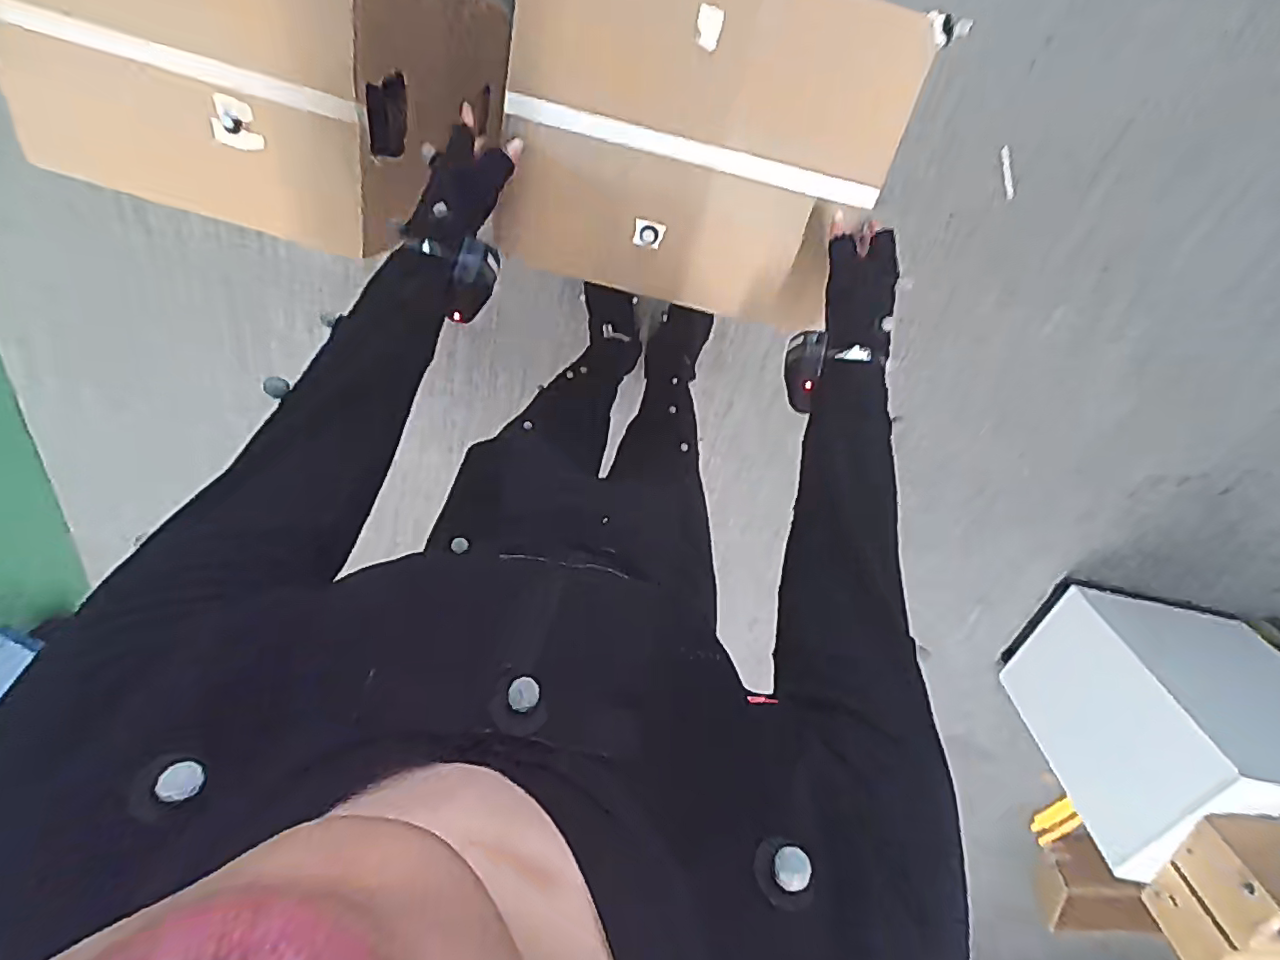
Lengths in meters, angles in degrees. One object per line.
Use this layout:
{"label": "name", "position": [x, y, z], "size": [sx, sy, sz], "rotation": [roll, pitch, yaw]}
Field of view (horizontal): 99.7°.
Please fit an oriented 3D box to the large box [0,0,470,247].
{"label": "large box", "position": [-0.476, -0.532, 0.697], "size": [0.408, 0.320, 0.320], "rotation": [14, 123, -5]}
